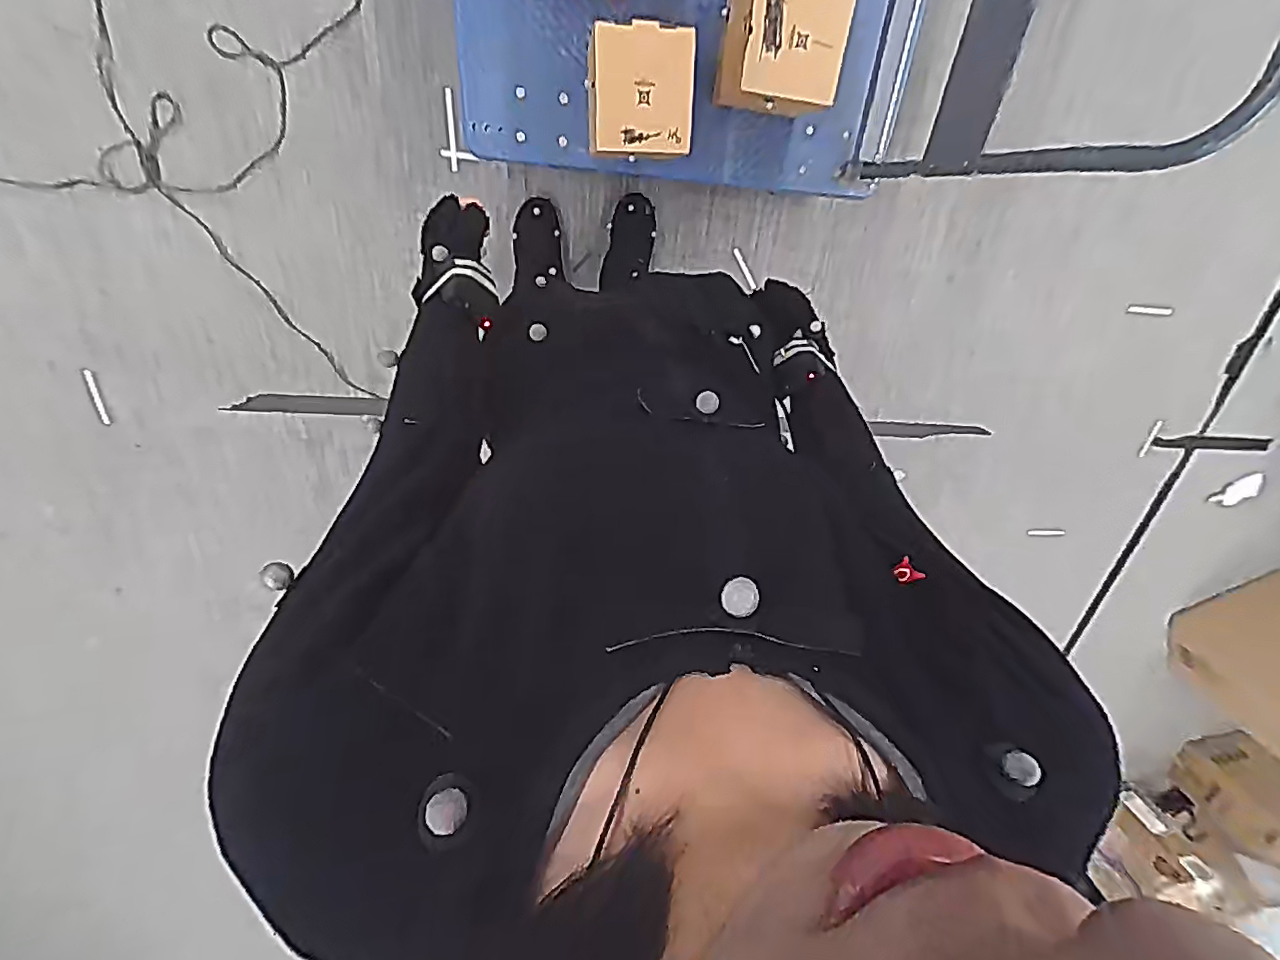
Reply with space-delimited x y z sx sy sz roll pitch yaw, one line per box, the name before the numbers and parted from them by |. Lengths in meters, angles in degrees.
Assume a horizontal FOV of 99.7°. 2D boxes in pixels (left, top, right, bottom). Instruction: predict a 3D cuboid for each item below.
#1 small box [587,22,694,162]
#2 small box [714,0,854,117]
small box | -0.007 -0.682 0.969 0.168 0.176 0.179 -3 117 -8
small box | 0.244 -0.765 0.967 0.179 0.176 0.168 2 117 -12
